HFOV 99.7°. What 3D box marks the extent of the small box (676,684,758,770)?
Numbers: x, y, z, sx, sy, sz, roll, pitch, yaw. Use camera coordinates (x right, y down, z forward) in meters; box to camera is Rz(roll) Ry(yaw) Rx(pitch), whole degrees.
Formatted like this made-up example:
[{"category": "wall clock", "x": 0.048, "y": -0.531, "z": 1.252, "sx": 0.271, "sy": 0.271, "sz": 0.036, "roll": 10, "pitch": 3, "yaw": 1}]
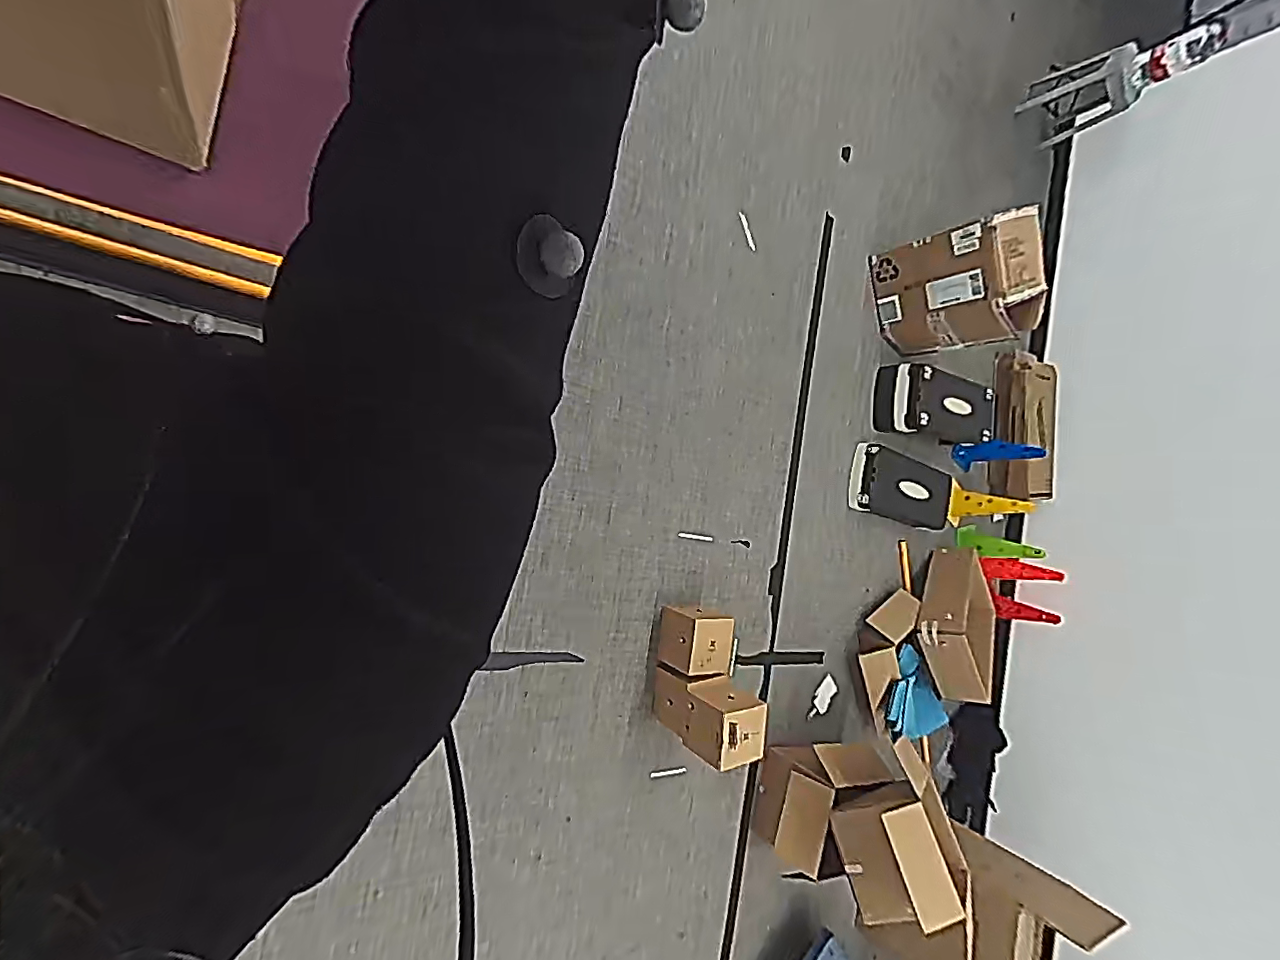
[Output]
[{"category": "small box", "x": 0.226, "y": 0.728, "z": 1.614, "sx": 0.179, "sy": 0.176, "sz": 0.168, "roll": 5, "pitch": 91, "yaw": -35}]
